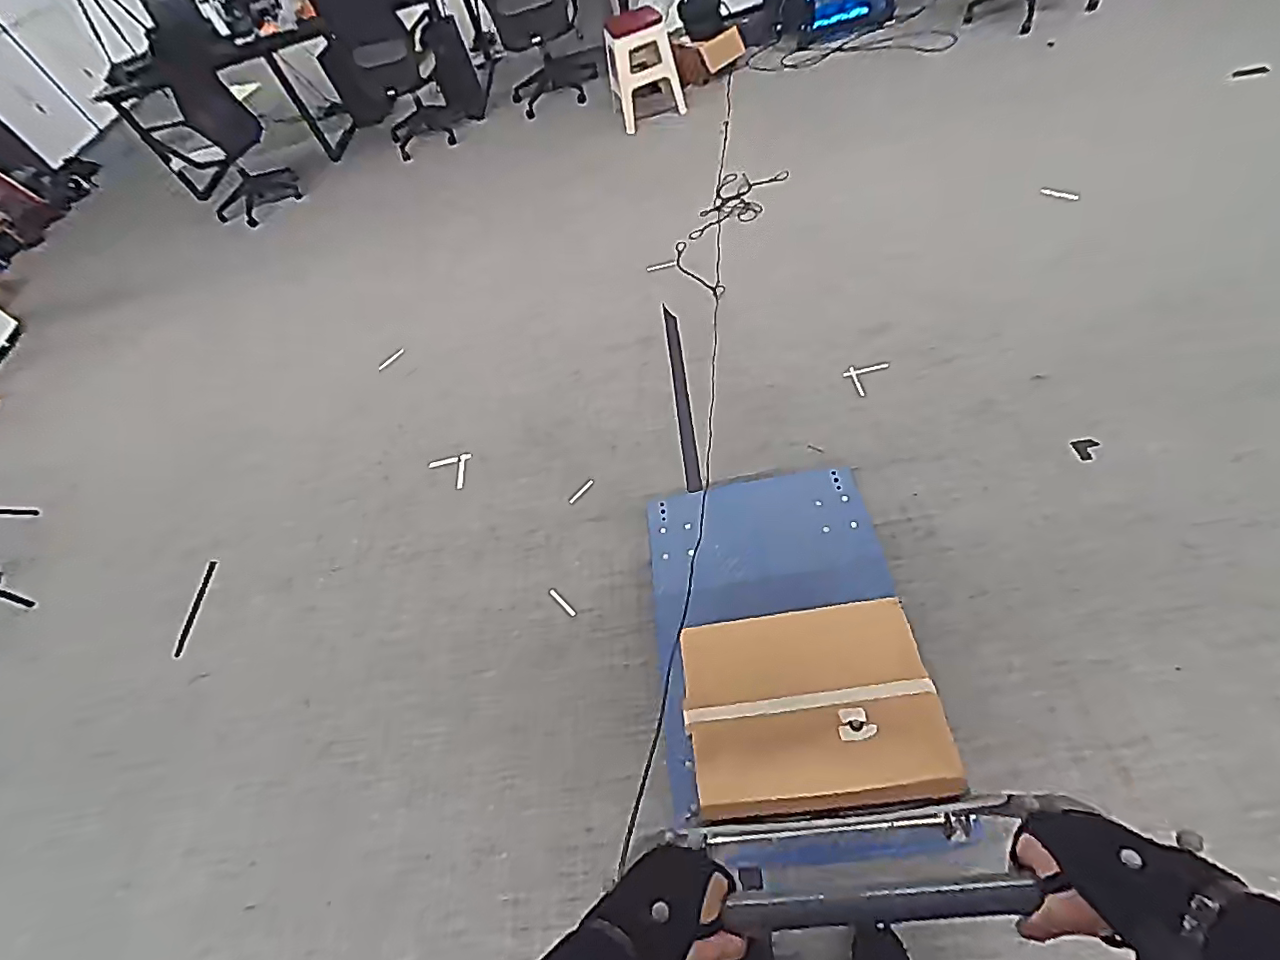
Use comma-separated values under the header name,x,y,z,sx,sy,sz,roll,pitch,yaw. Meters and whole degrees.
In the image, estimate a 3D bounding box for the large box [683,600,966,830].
name,x,y,z,sx,sy,sz,roll,pitch,yaw
large box,0.318,0.465,1.042,0.408,0.320,0.320,-11,55,7
